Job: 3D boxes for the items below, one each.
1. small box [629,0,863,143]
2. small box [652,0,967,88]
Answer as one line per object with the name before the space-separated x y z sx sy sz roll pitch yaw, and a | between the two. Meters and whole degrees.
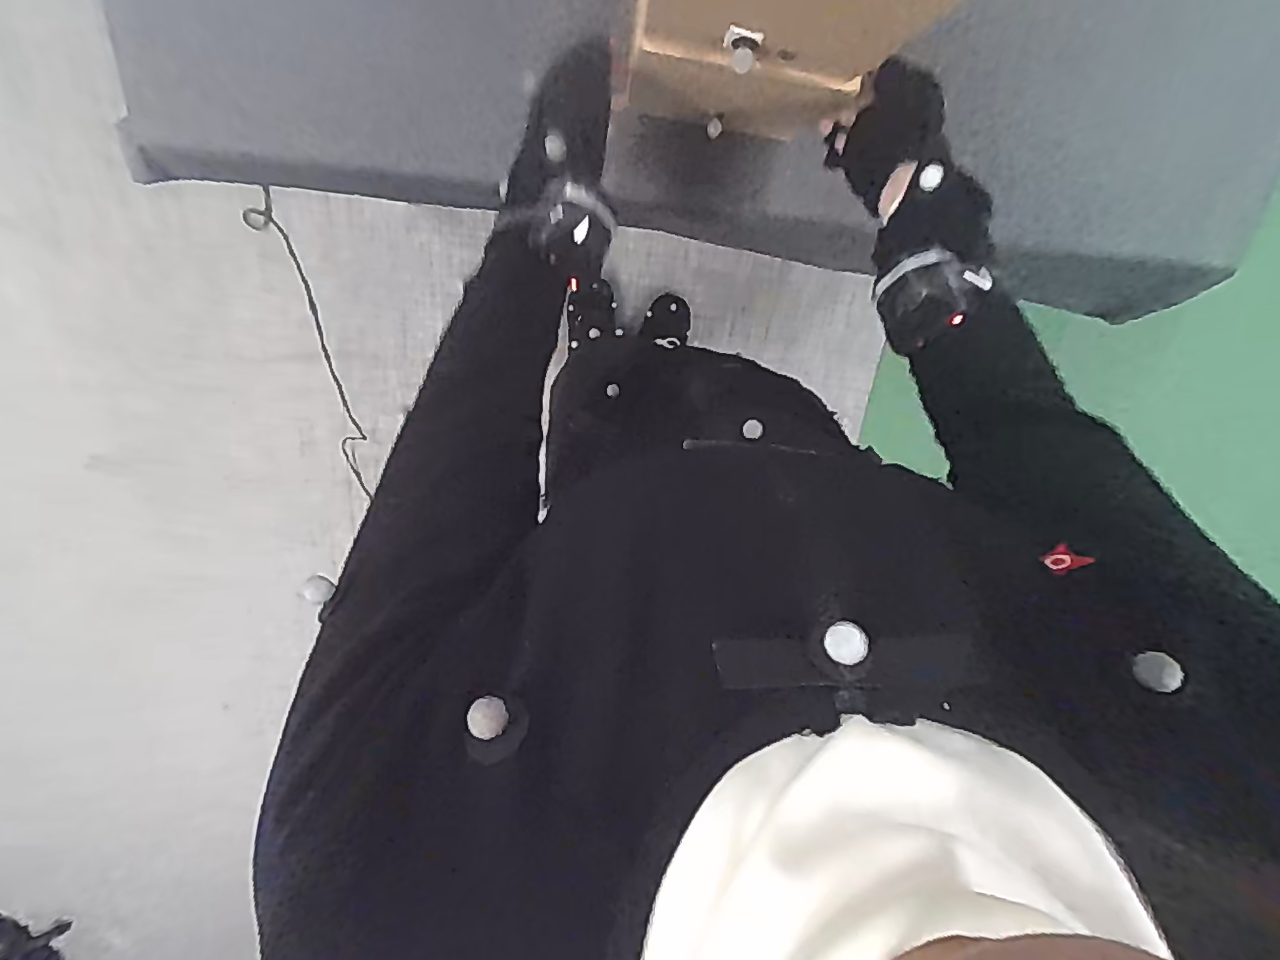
small box | 0.091 -0.409 0.462 0.179 0.176 0.168 6 109 -7
small box | 0.100 -0.362 0.307 0.168 0.176 0.179 6 111 -4
